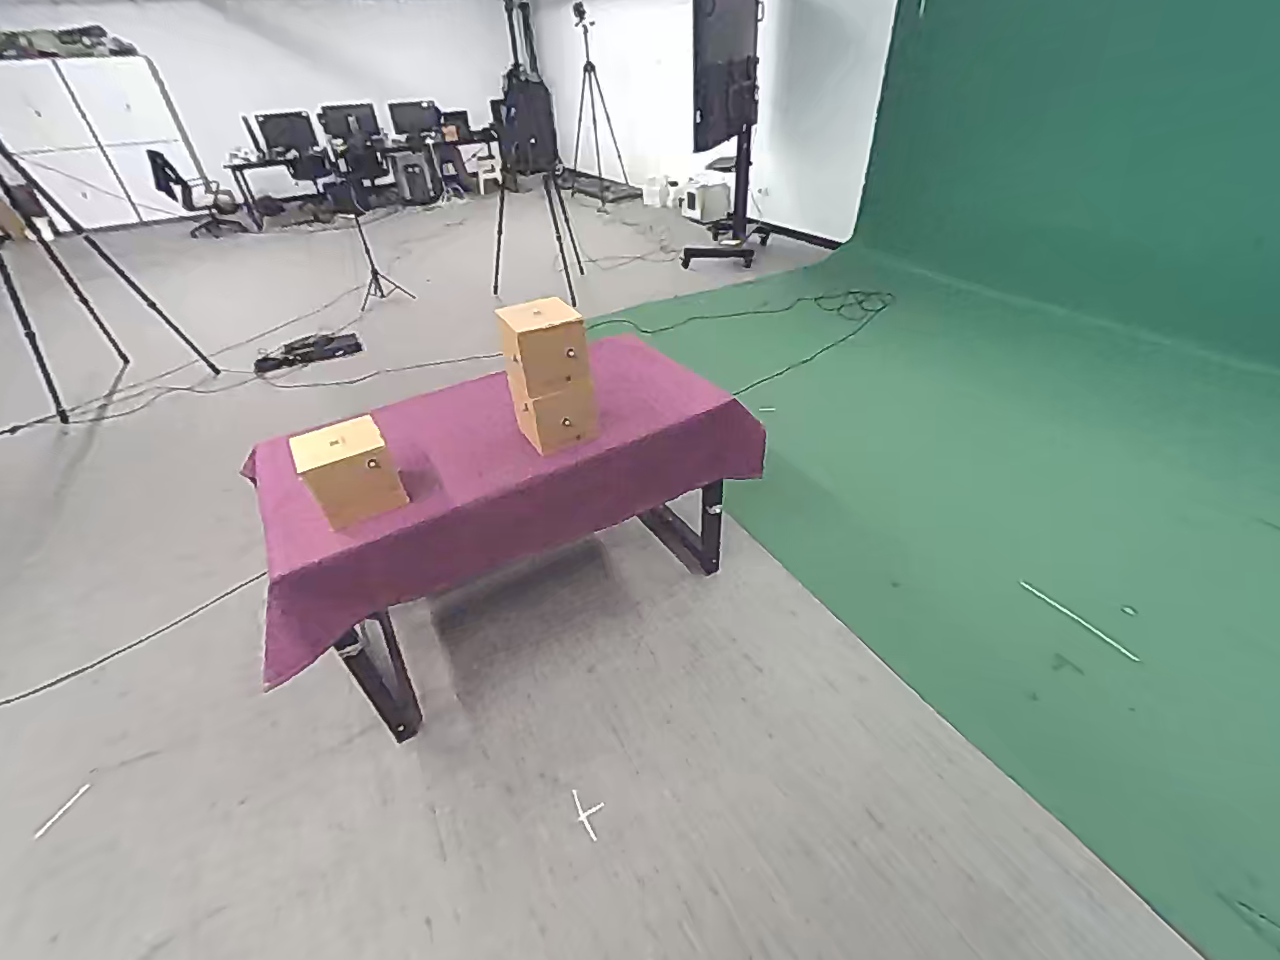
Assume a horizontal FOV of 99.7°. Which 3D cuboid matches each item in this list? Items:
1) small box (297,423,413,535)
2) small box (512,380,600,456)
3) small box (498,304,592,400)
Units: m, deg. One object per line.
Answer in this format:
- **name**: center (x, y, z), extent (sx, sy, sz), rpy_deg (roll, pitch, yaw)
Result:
- **small box**: center (-0.649, -0.001, 1.240), extent (0.179, 0.176, 0.168), rpy_deg (-24, 41, -25)
- **small box**: center (-0.218, -0.180, 1.426), extent (0.168, 0.176, 0.179), rpy_deg (-22, 40, -22)
- **small box**: center (-0.230, -0.312, 1.331), extent (0.168, 0.176, 0.179), rpy_deg (-21, 40, -20)
